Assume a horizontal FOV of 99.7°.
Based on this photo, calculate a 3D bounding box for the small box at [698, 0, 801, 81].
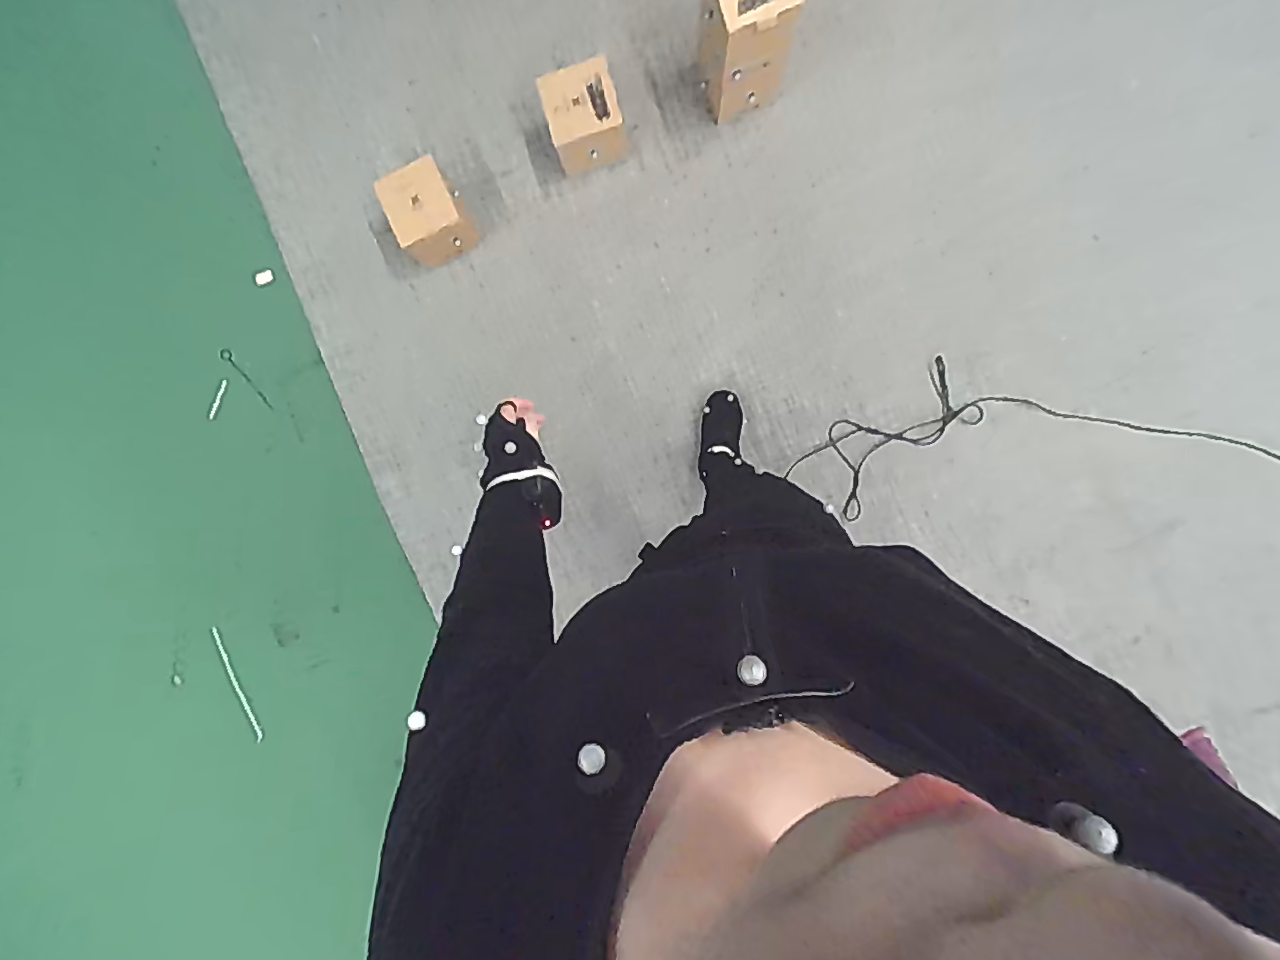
[{"bbox_3d":[0.229,-1.007,1.162,0.168,0.176,0.179,-18,92,5],"label":"small box"}]

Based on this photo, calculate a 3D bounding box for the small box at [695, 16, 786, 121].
[{"bbox_3d":[0.240,-1.023,1.327,0.168,0.176,0.179,-19,93,5],"label":"small box"}]

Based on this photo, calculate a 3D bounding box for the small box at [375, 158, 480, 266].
[{"bbox_3d":[-0.542,-0.681,1.405,0.168,0.176,0.179,-23,91,4],"label":"small box"}]
